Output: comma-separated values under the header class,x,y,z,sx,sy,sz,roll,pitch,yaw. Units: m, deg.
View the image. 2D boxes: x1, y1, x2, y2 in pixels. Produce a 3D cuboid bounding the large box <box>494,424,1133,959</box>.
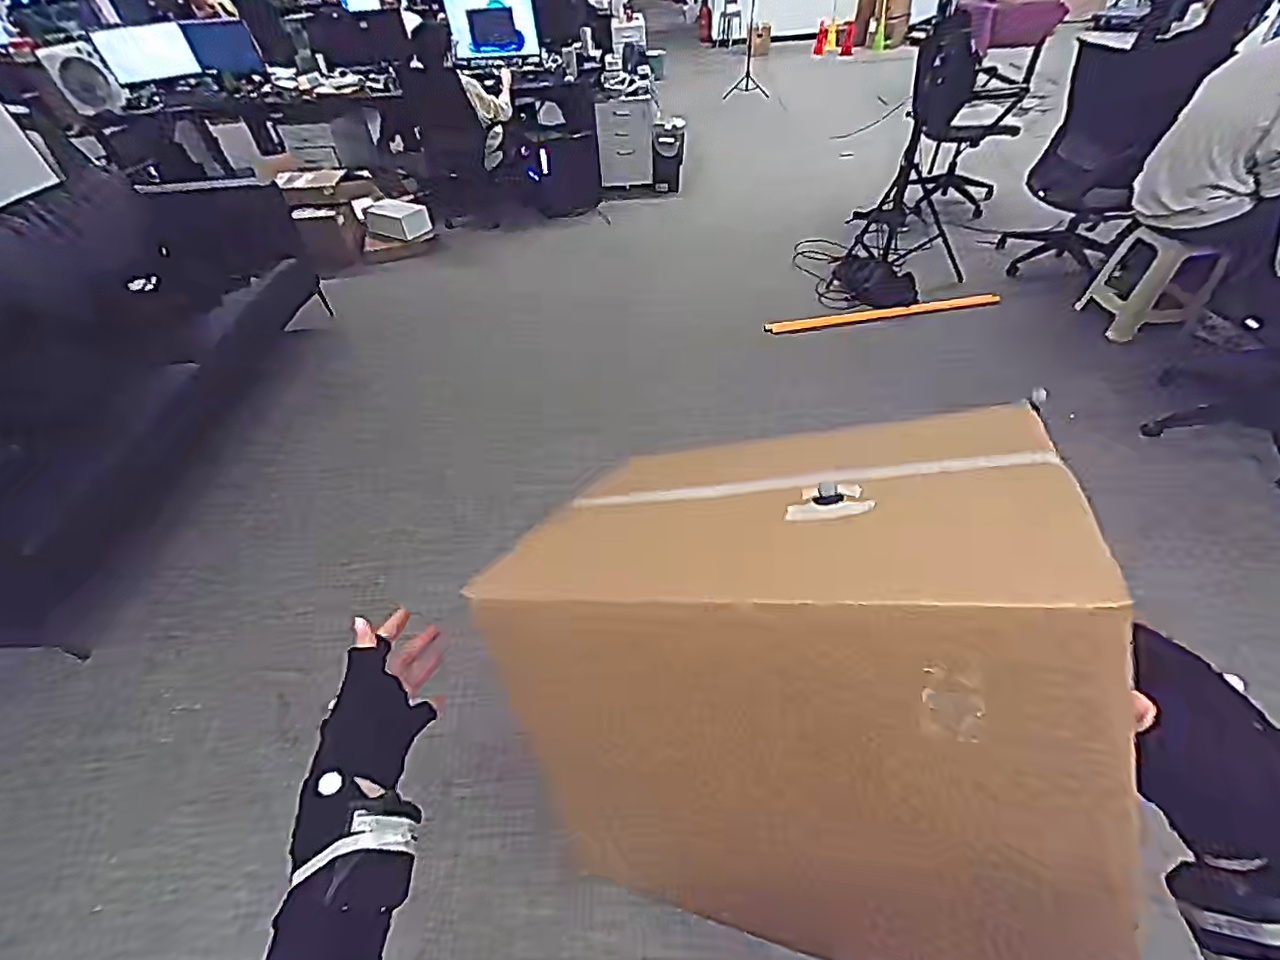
class,x,y,z,sx,sy,sz,roll,pitch,yaw
large box,0.151,0.160,0.500,0.408,0.320,0.320,-6,18,33
